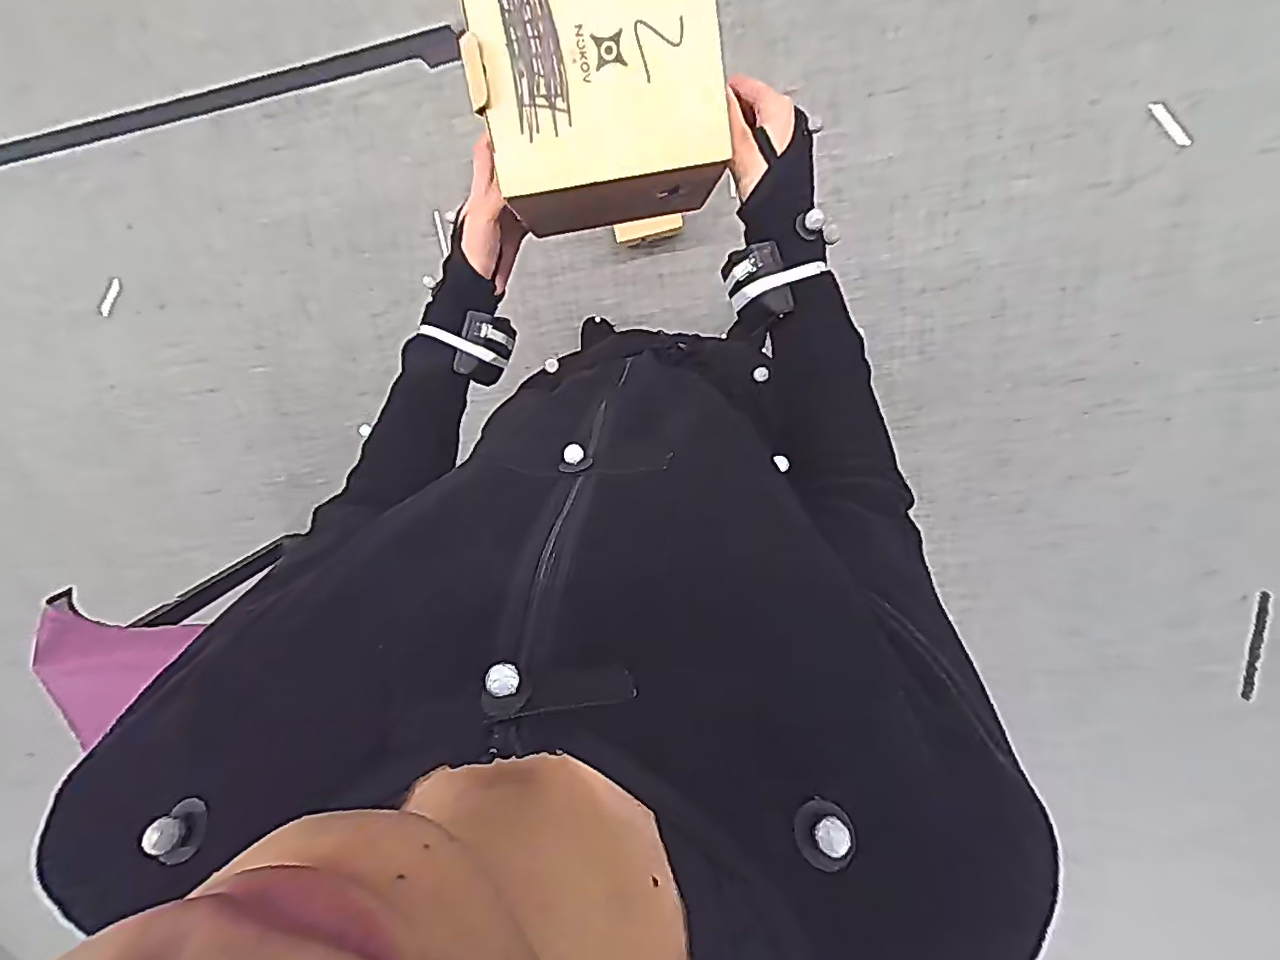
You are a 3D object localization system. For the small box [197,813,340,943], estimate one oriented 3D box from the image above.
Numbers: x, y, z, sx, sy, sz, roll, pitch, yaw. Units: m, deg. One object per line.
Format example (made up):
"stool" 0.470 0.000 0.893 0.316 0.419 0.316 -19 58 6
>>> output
"small box" -0.810 0.881 1.202 0.168 0.176 0.179 -11 107 9

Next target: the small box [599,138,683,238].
"small box" 0.010 -0.709 1.335 0.168 0.176 0.179 -10 108 9
